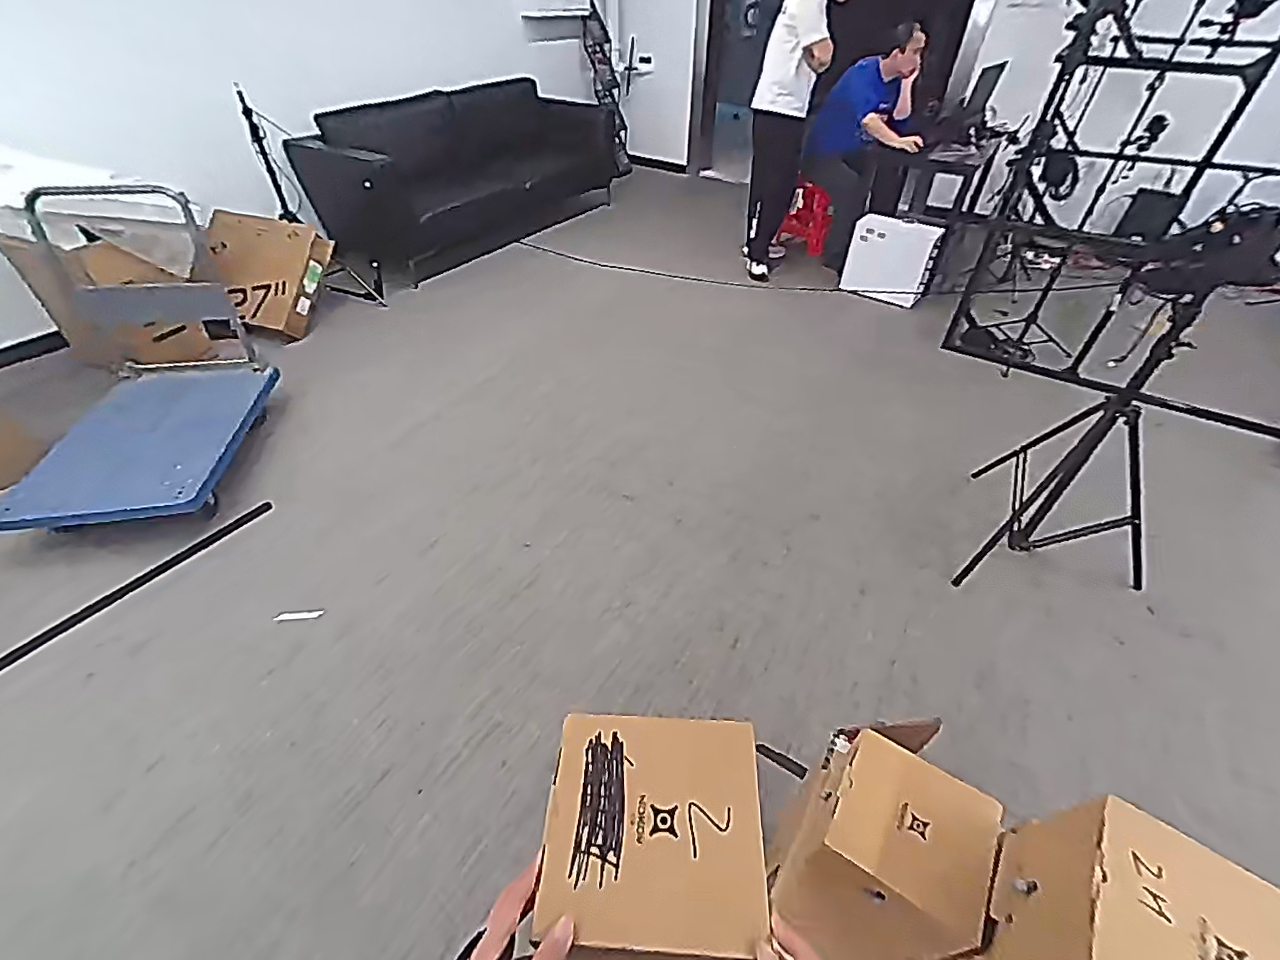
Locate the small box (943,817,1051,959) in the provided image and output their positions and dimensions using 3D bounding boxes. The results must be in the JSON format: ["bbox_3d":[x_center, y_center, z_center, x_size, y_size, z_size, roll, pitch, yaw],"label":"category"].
[{"bbox_3d":[0.491,0.546,0.629,0.179,0.176,0.168,31,52,26],"label":"small box"}]

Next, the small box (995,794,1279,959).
[{"bbox_3d":[0.475,0.440,0.501,0.179,0.176,0.168,28,50,25],"label":"small box"}]
